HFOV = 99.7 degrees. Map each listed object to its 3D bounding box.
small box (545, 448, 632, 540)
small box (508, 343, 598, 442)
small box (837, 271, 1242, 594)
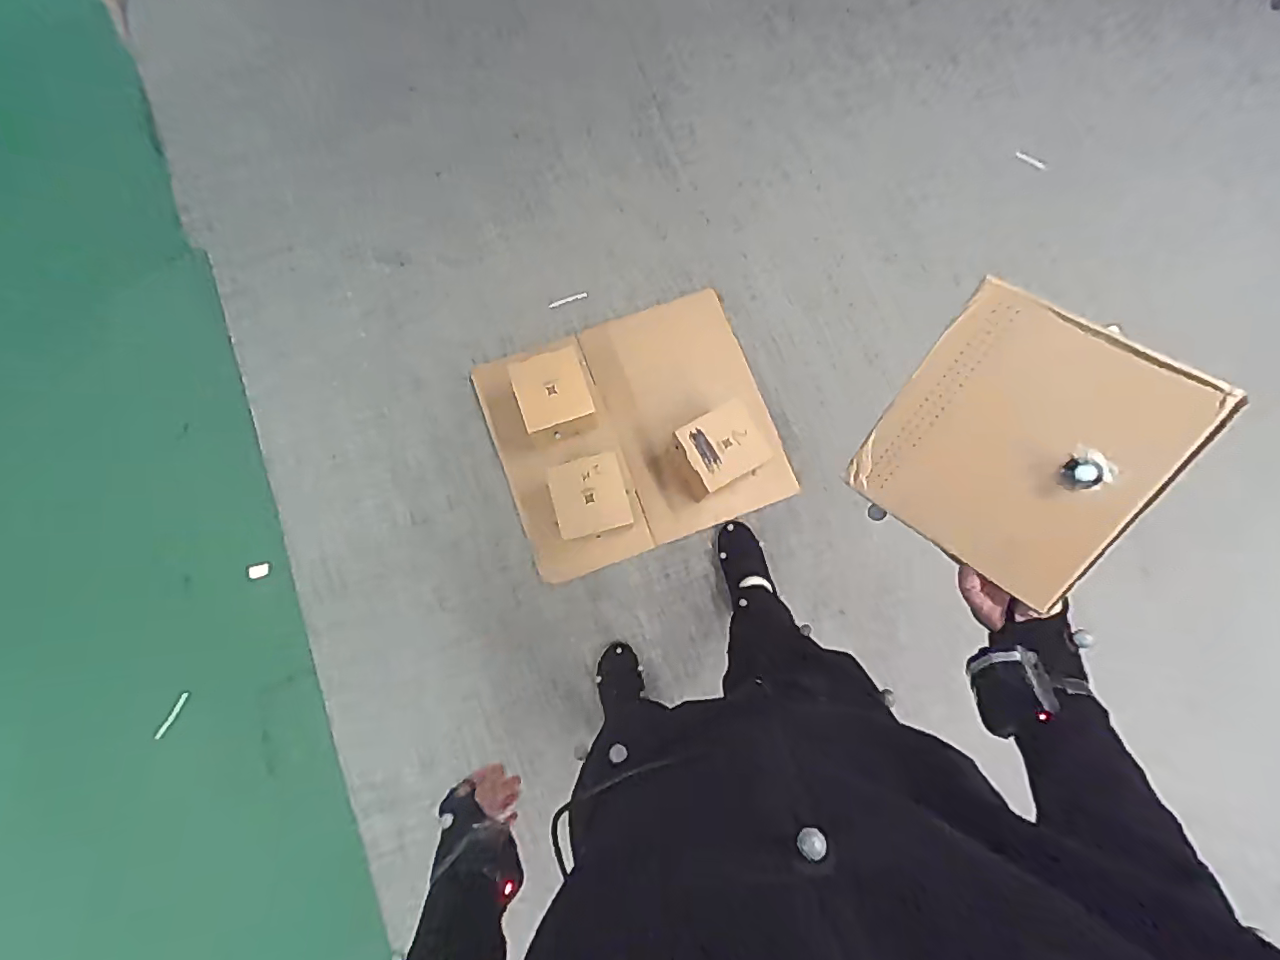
[{"bbox_3d":[-0.117,0.041,1.286,0.168,0.176,0.179,-14,80,-5],"label":"small box"},{"bbox_3d":[-0.206,-0.205,1.330,0.168,0.176,0.179,-18,80,-5],"label":"small box"},{"bbox_3d":[0.290,-0.040,0.442,0.176,0.168,0.179,38,107,22],"label":"small box"}]
